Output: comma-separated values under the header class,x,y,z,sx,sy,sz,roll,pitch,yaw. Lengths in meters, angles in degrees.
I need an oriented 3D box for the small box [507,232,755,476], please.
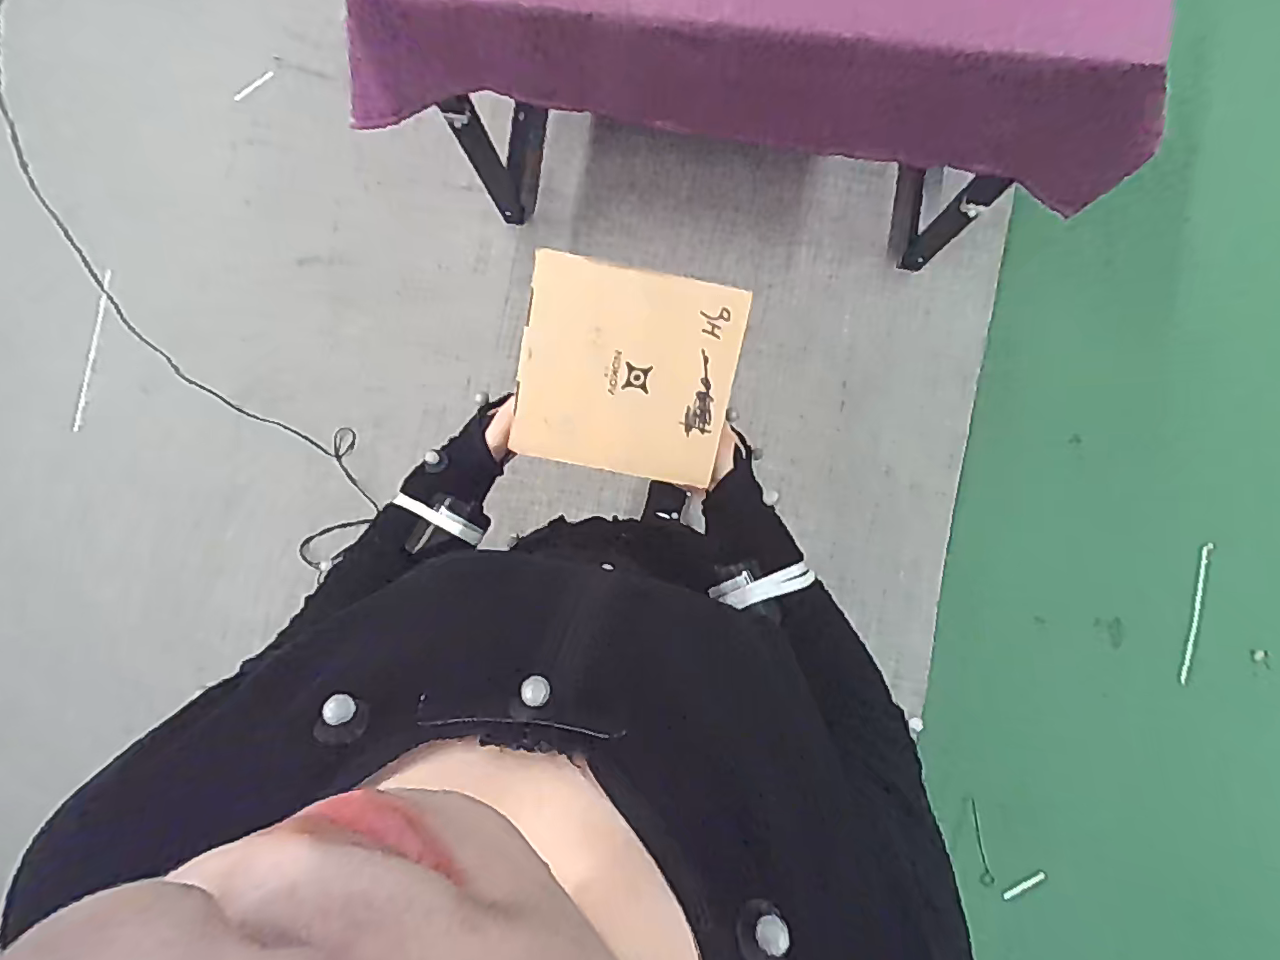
class,x,y,z,sx,sy,sz,roll,pitch,yaw
small box,-0.009,-0.116,0.514,0.179,0.176,0.168,12,104,-2
